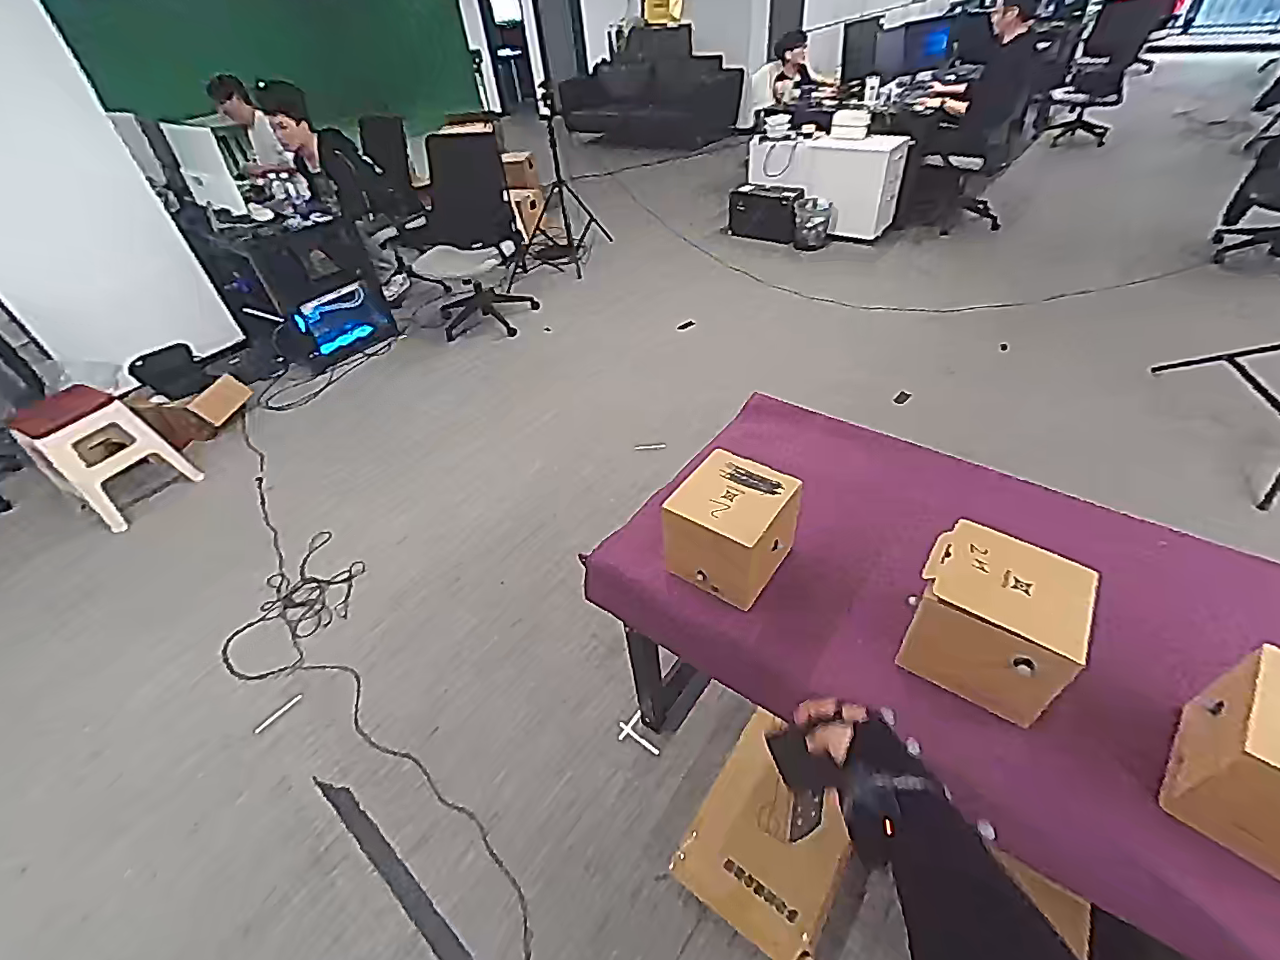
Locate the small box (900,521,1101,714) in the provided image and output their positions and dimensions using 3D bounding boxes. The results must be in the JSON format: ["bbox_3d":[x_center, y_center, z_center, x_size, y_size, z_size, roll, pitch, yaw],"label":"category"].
[{"bbox_3d":[0.494,0.195,0.756,0.179,0.176,0.168,23,48,29],"label":"small box"}]

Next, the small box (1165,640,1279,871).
[{"bbox_3d":[0.735,0.320,0.590,0.179,0.176,0.168,30,54,33],"label":"small box"}]
